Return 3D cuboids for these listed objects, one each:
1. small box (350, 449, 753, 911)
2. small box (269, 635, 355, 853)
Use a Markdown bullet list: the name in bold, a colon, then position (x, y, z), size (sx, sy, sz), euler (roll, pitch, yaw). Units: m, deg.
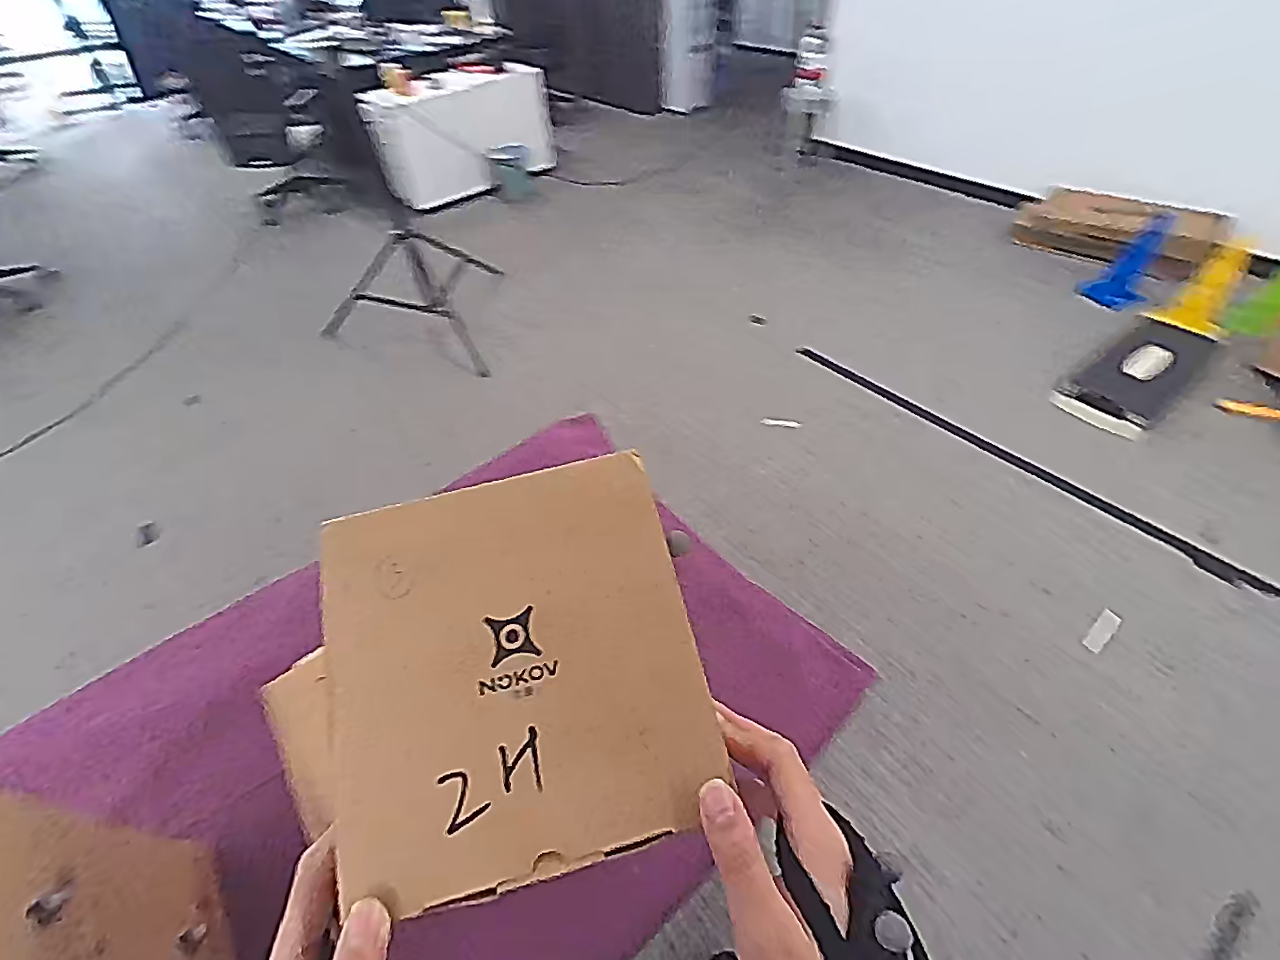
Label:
- **small box**: position (-0.050, 0.107, 0.324), size (0.168, 0.176, 0.179), euler (-12, 68, -5)
- **small box**: position (-0.230, 0.256, 0.550), size (0.168, 0.176, 0.179), euler (-32, 54, -22)
